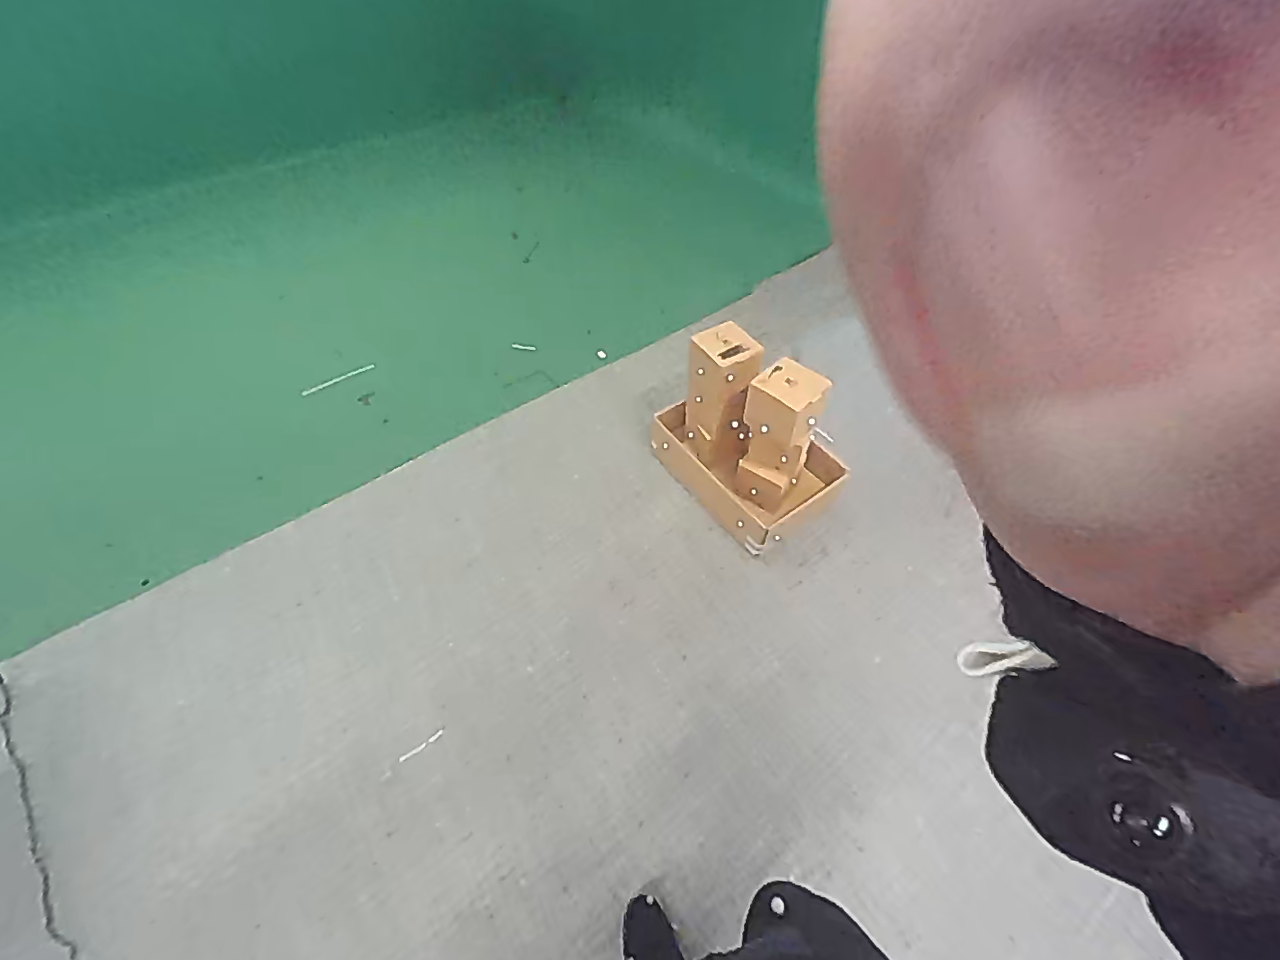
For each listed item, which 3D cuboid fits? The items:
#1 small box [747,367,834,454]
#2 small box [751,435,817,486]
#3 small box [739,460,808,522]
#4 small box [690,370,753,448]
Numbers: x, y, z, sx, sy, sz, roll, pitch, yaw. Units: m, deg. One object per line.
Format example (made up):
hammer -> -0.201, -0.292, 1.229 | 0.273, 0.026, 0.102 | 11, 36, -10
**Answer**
small box -> 0.443, -0.201, 1.620 | 0.168, 0.176, 0.179 | -37, 59, -24
small box -> 0.470, -0.110, 1.756 | 0.168, 0.176, 0.179 | 22, 54, 18
small box -> 0.455, 0.012, 1.867 | 0.168, 0.176, 0.179 | 31, 58, 24
small box -> 0.287, -0.244, 1.868 | 0.168, 0.176, 0.179 | -26, 57, -19
